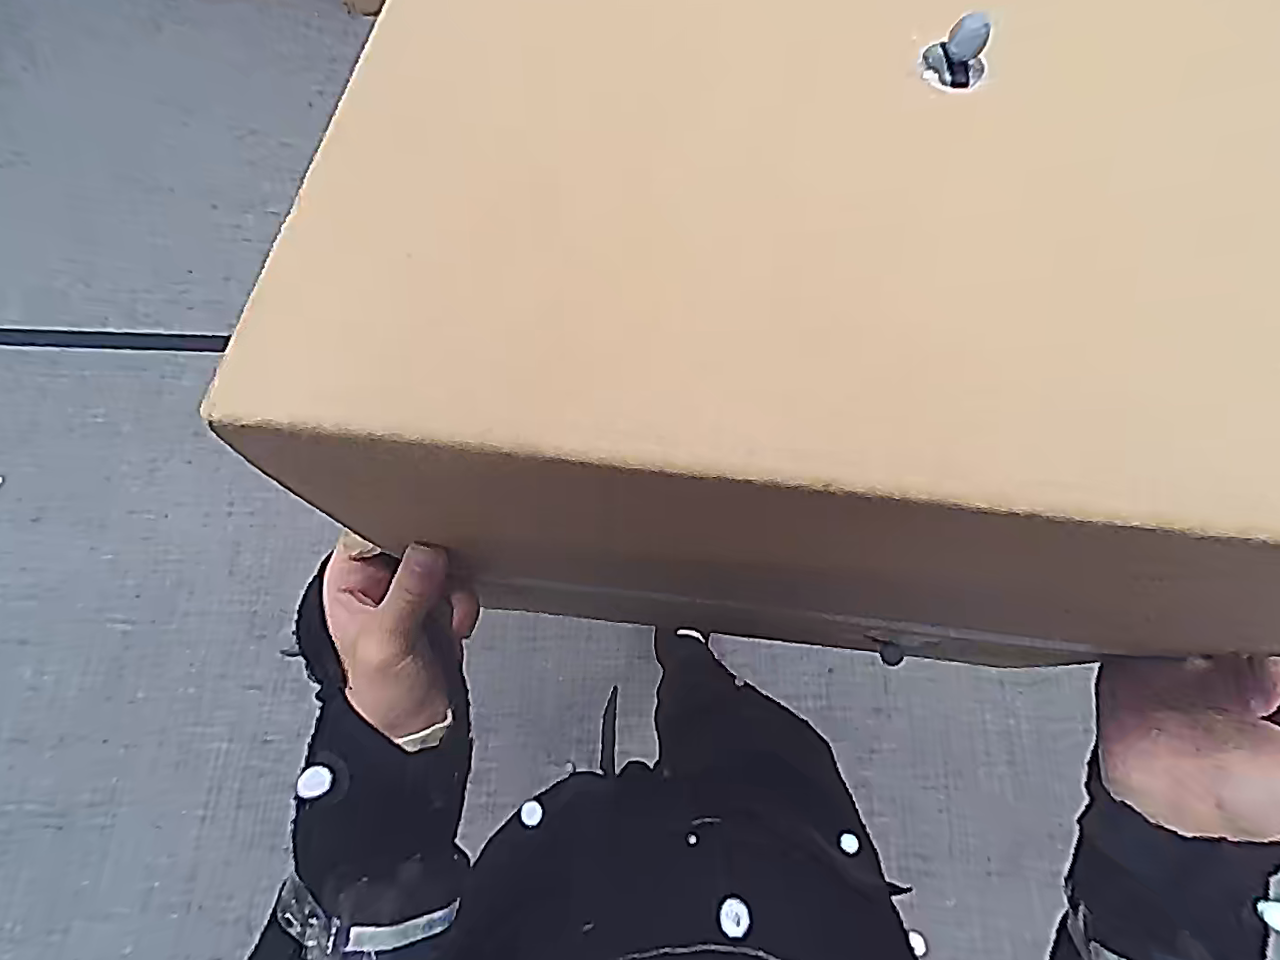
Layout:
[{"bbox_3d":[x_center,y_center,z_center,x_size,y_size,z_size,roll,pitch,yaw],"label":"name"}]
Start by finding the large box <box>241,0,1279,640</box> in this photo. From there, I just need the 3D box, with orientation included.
[{"bbox_3d":[0.097,-0.092,0.330,0.408,0.320,0.320,6,70,0],"label":"large box"}]
